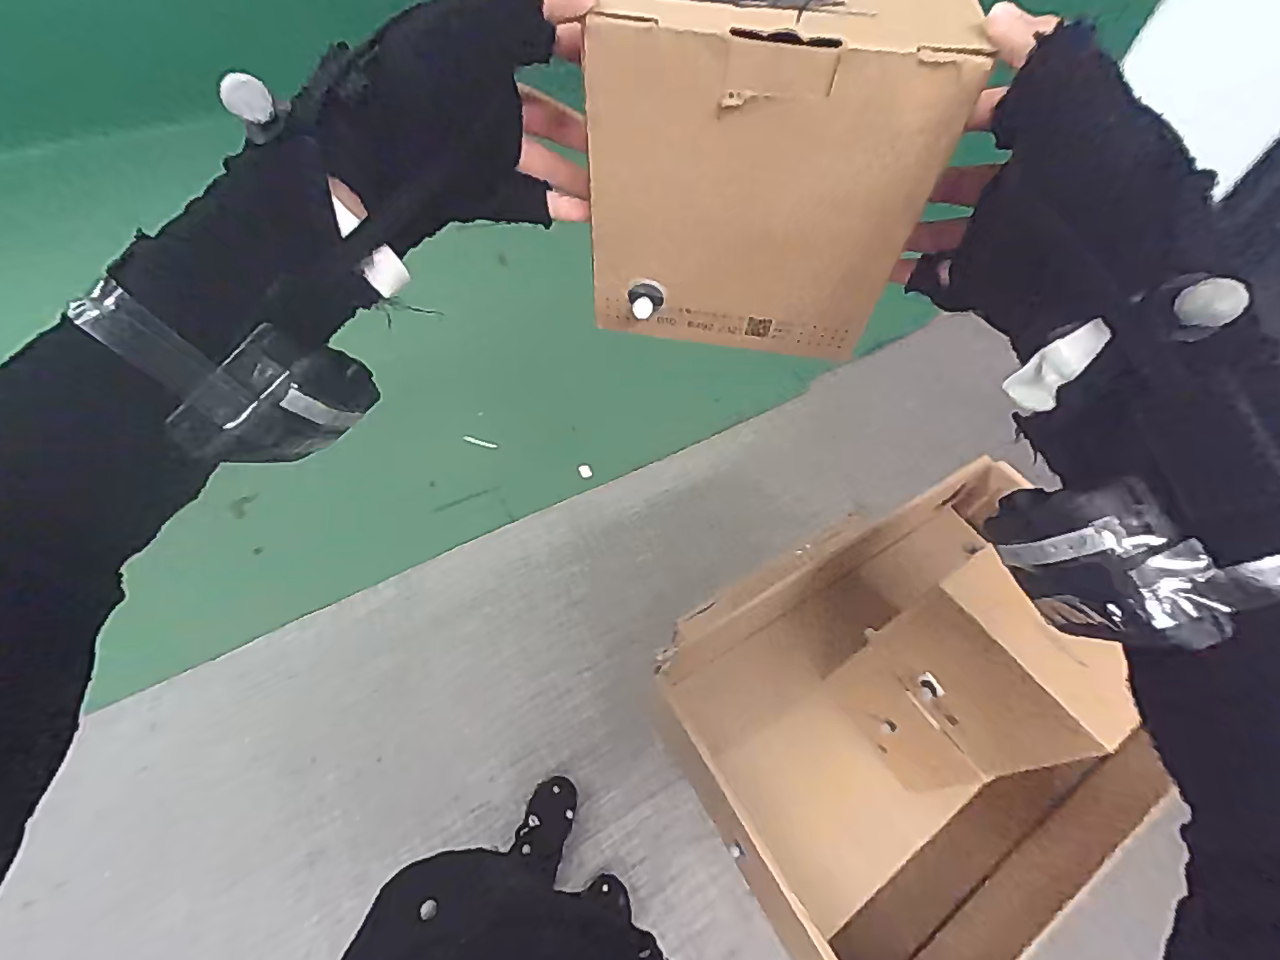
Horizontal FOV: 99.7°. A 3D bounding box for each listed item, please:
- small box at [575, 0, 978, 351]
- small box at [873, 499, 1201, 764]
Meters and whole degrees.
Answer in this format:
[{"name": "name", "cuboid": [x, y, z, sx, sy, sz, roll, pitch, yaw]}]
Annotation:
[{"name": "small box", "cuboid": [0.063, -0.202, 0.327, 0.168, 0.176, 0.179, 8, 58, 2]}, {"name": "small box", "cuboid": [0.376, 0.156, 0.547, 0.179, 0.176, 0.168, -28, 61, -20]}]
